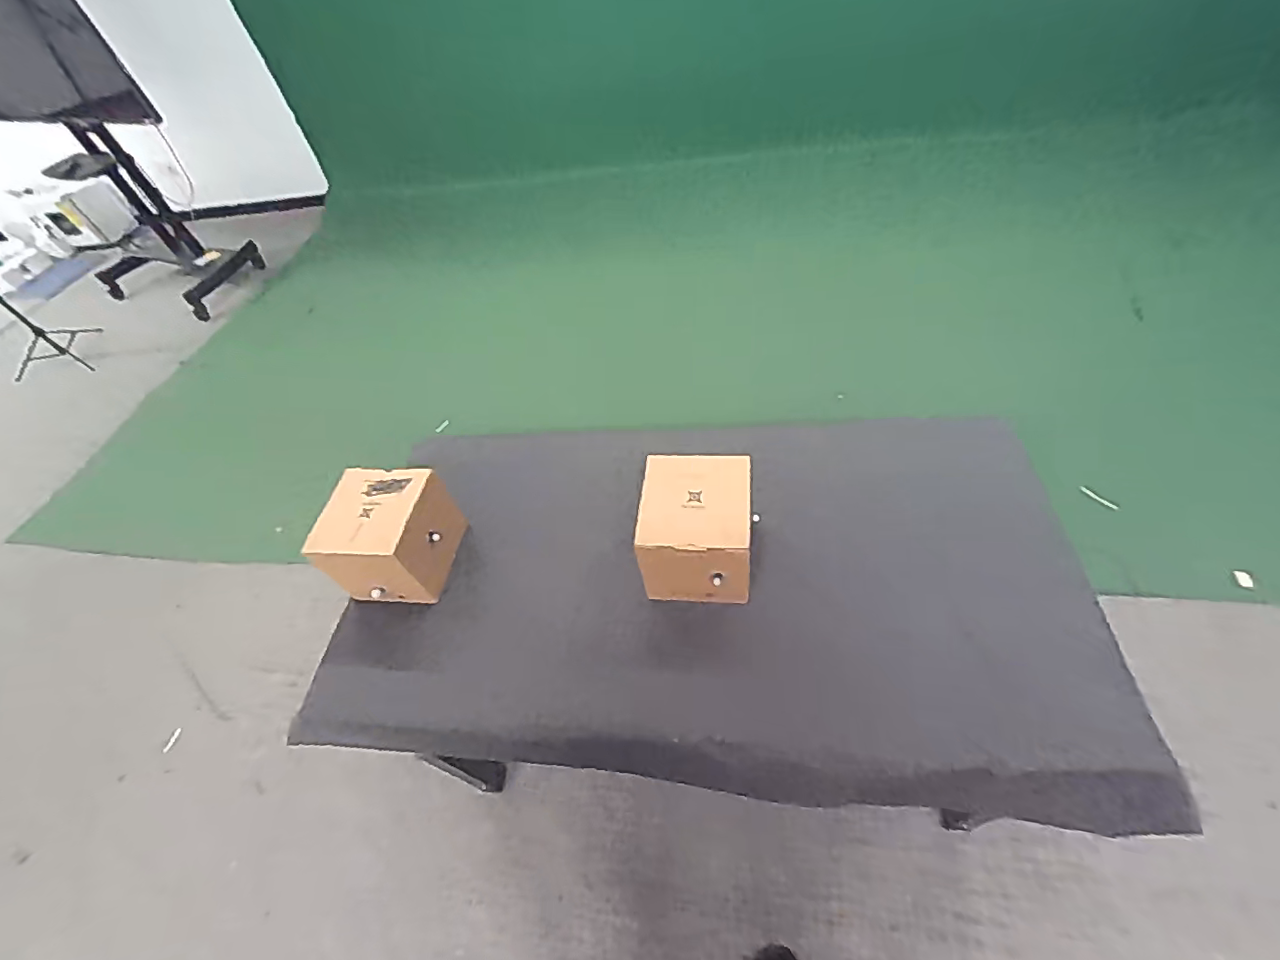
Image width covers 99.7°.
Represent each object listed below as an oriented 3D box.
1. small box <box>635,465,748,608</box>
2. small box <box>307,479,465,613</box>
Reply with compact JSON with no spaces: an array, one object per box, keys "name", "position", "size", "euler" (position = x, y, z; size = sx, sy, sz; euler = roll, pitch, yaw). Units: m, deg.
[{"name":"small box","position":[0.093,0.094,0.884],"size":[0.168,0.176,0.179],"euler":[0,50,9]},{"name":"small box","position":[-0.432,0.116,0.959],"size":[0.168,0.176,0.179],"euler":[0,52,10]}]
